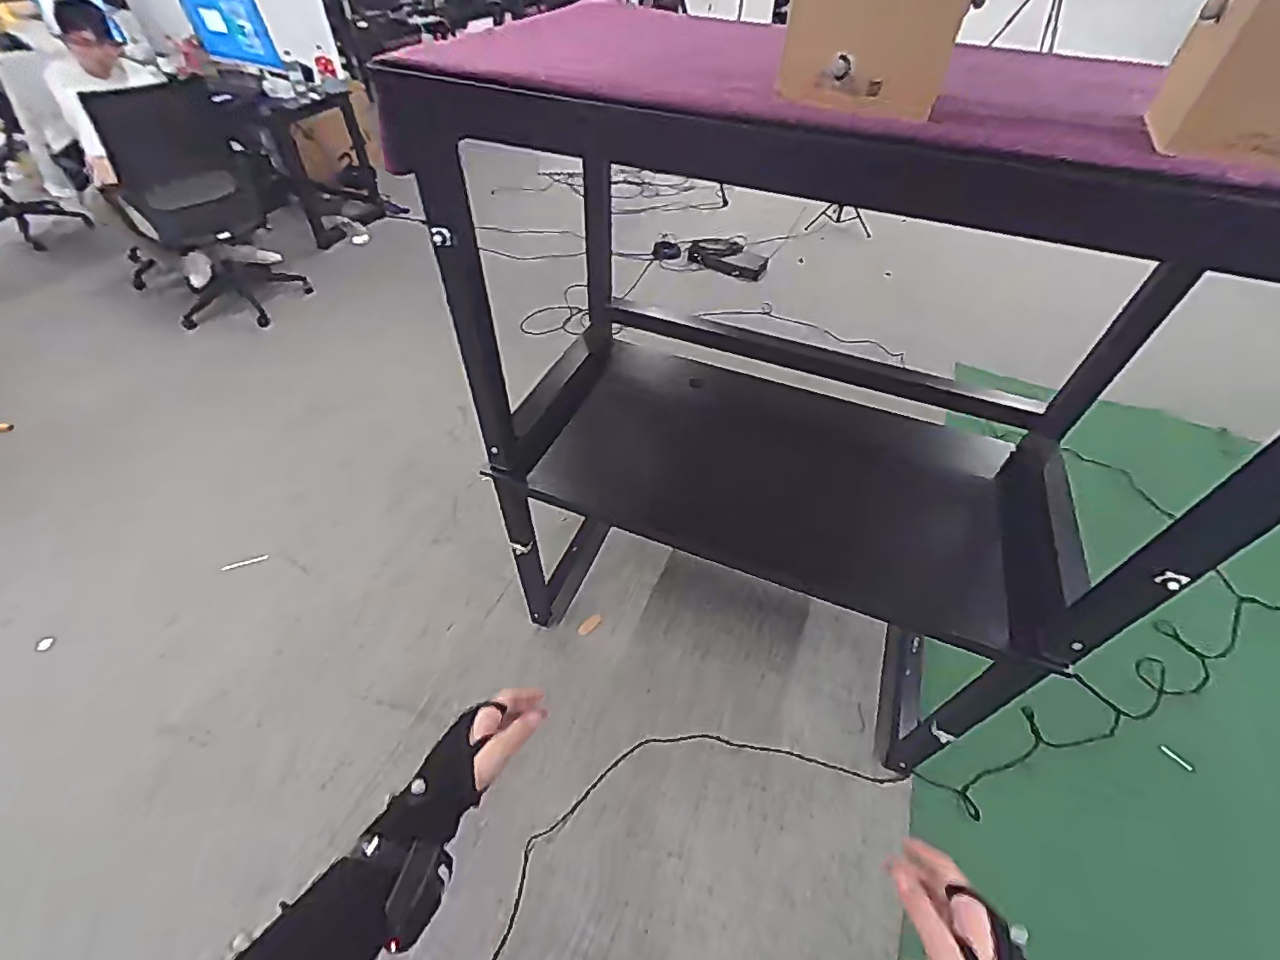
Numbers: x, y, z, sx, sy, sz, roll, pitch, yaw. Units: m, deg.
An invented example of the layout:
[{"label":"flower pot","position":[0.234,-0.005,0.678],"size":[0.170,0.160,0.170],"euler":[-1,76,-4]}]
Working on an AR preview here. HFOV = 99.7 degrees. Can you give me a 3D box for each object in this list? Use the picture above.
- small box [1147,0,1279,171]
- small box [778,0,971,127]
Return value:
[{"label":"small box","position":[0.613,-0.396,0.490],"size":[0.168,0.176,0.179],"euler":[20,50,17]},{"label":"small box","position":[0.259,-0.504,0.580],"size":[0.168,0.176,0.179],"euler":[19,49,17]}]
